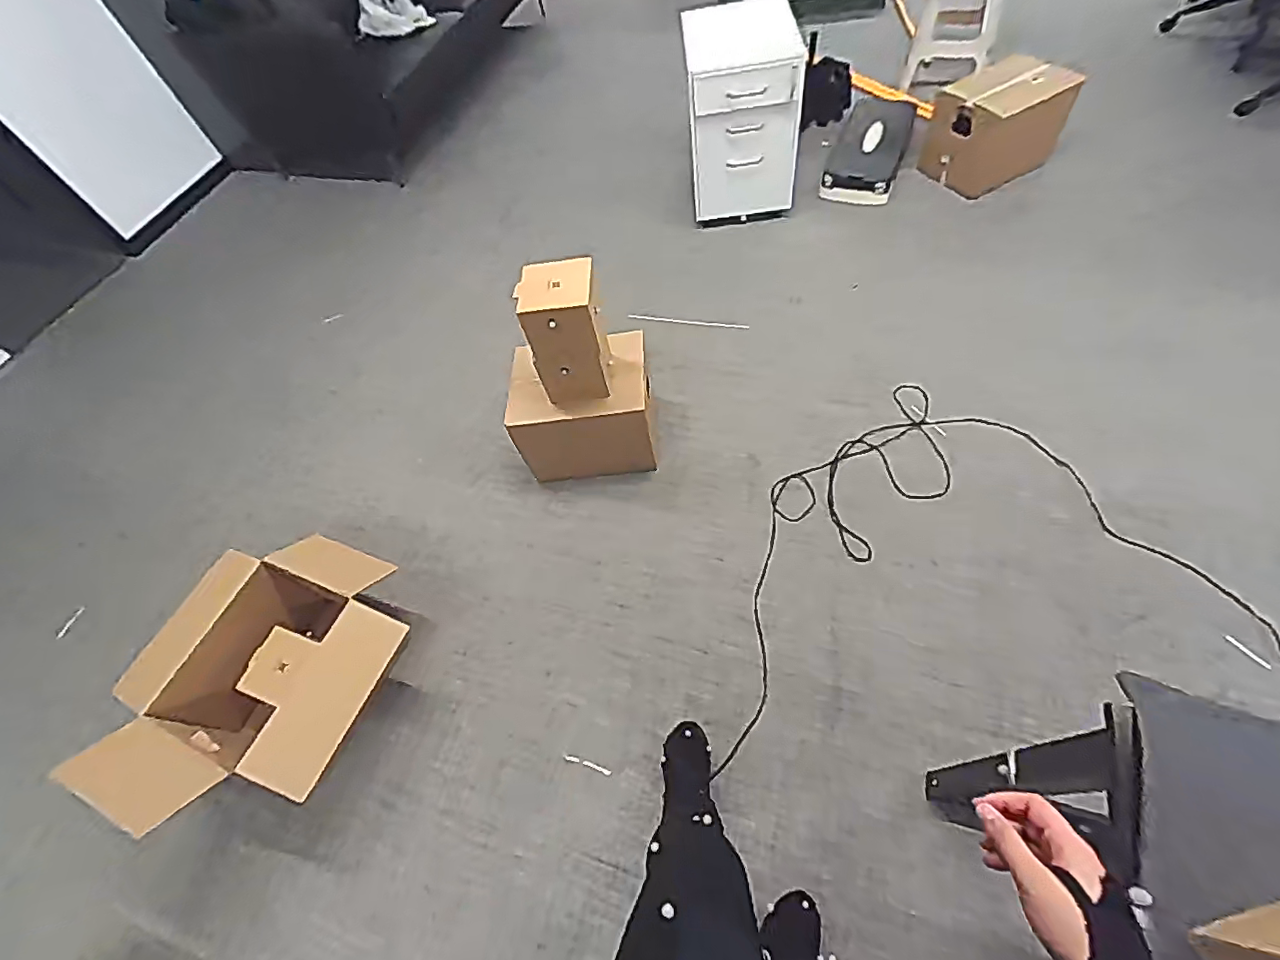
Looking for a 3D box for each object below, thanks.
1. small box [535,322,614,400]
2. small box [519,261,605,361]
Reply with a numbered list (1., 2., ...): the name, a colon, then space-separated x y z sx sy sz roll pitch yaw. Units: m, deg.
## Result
1. small box: -0.176 -0.337 1.505 0.179 0.176 0.168 -5 59 7
2. small box: -0.188 -0.421 1.365 0.179 0.176 0.168 -5 59 8
